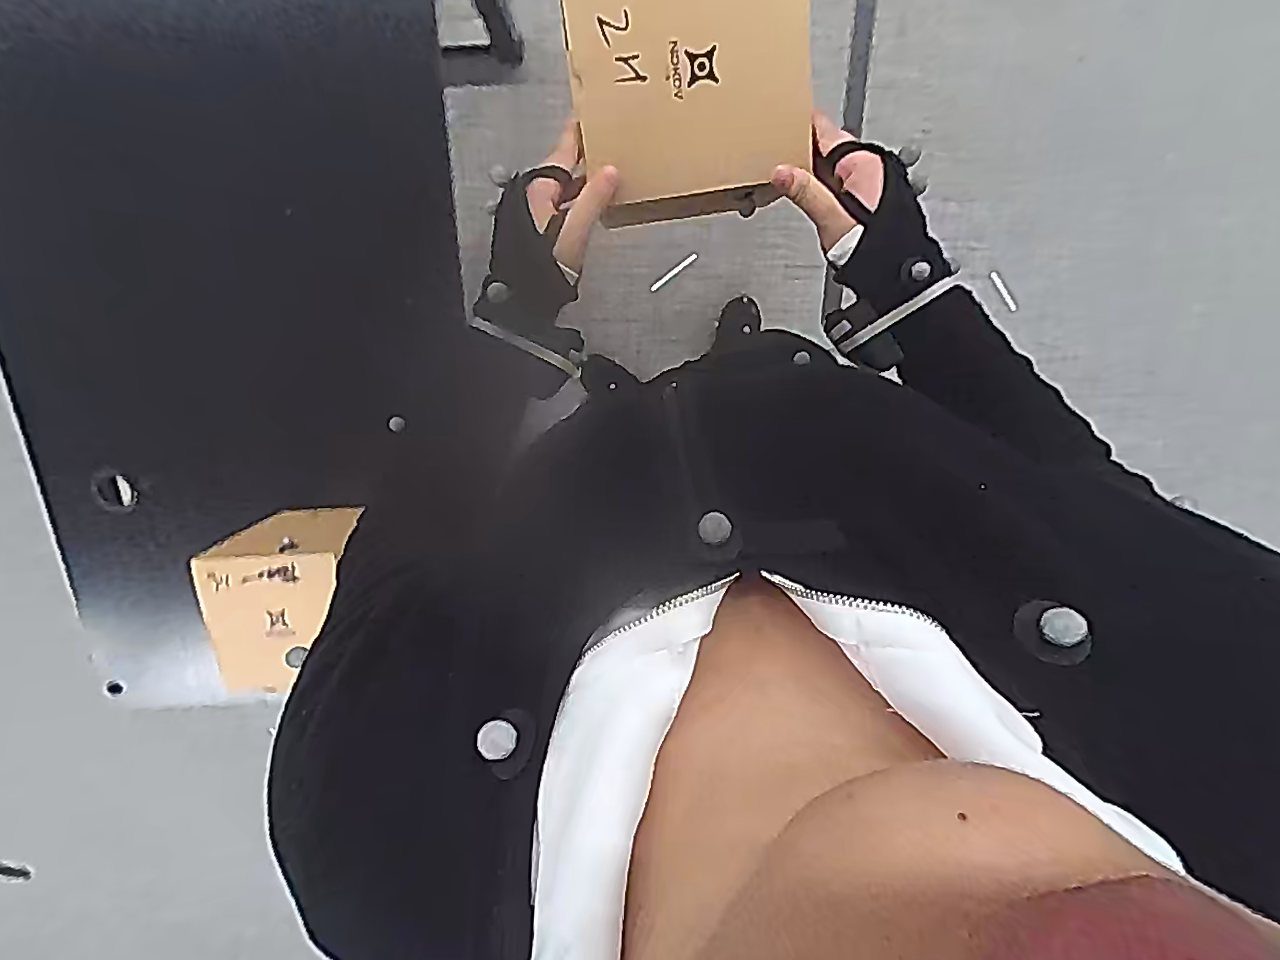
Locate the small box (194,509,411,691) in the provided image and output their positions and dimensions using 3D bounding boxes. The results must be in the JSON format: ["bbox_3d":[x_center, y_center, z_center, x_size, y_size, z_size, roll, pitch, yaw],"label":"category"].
[{"bbox_3d":[-0.422,0.150,0.713,0.168,0.176,0.179,-3,106,0],"label":"small box"}]

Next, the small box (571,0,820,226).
[{"bbox_3d":[0.043,-0.324,0.468,0.179,0.176,0.168,-6,109,3],"label":"small box"}]
